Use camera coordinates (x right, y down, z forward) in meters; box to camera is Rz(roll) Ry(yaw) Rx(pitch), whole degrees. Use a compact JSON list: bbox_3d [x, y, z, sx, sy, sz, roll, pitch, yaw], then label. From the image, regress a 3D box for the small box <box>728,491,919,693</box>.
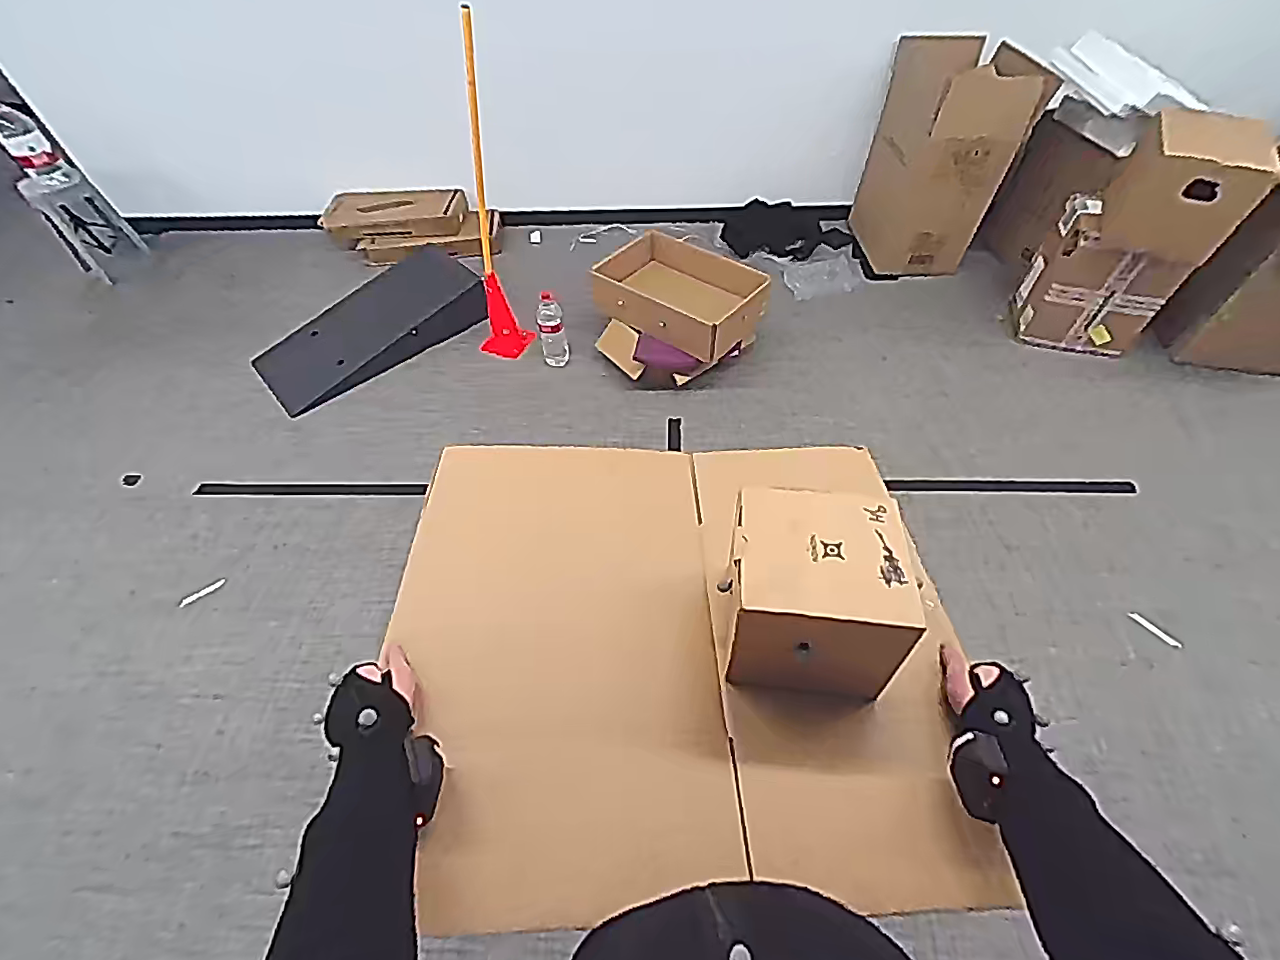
[{"bbox_3d":[0.195,0.132,0.633,0.179,0.176,0.168,4,47,7],"label":"small box"}]
